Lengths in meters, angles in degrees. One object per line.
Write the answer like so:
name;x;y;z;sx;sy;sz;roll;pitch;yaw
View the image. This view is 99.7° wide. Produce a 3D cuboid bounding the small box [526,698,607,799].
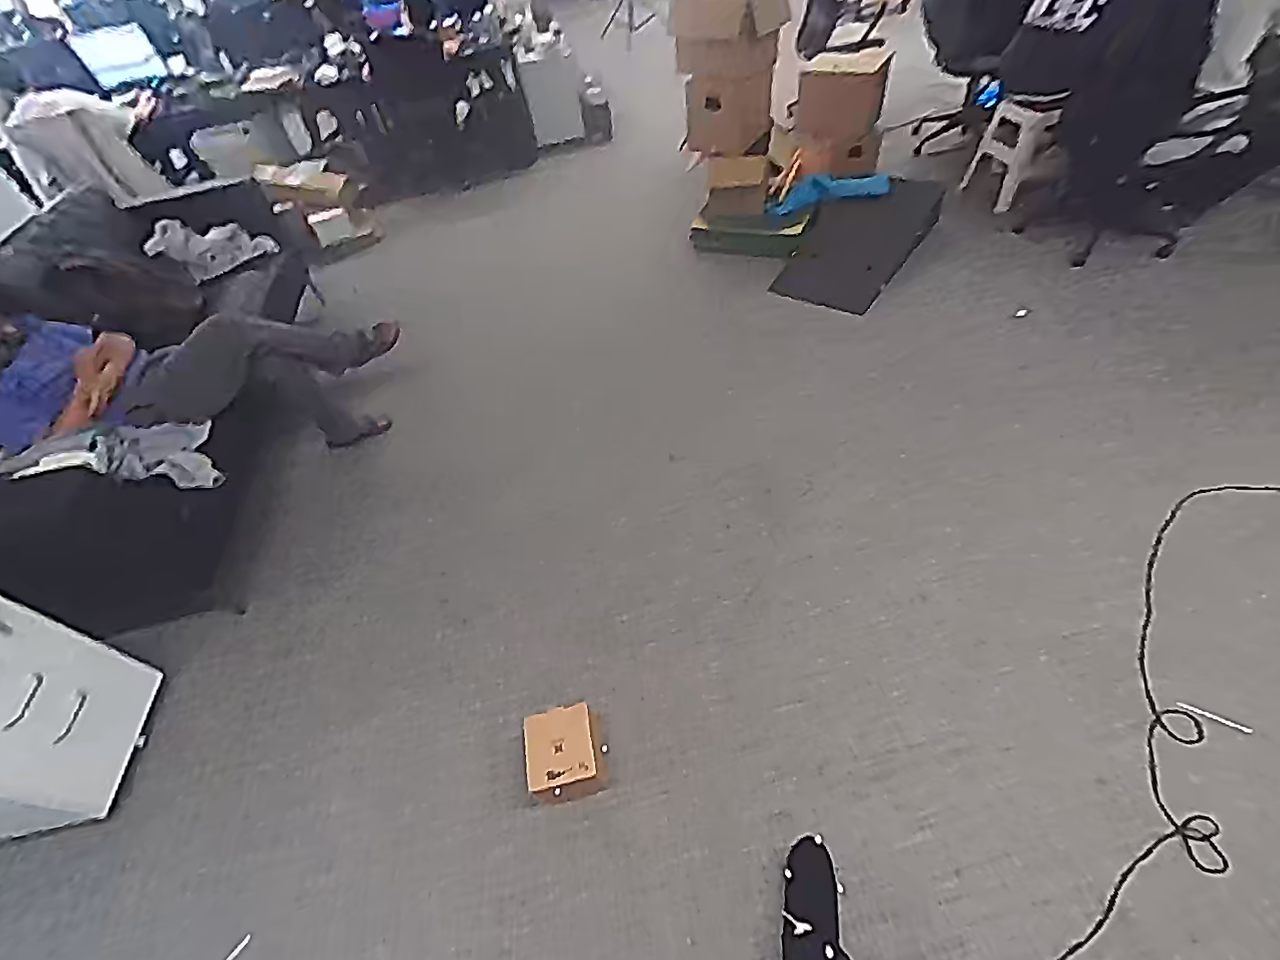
small box;-0.187;0.688;1.383;0.168;0.176;0.179;-13;49;-1
